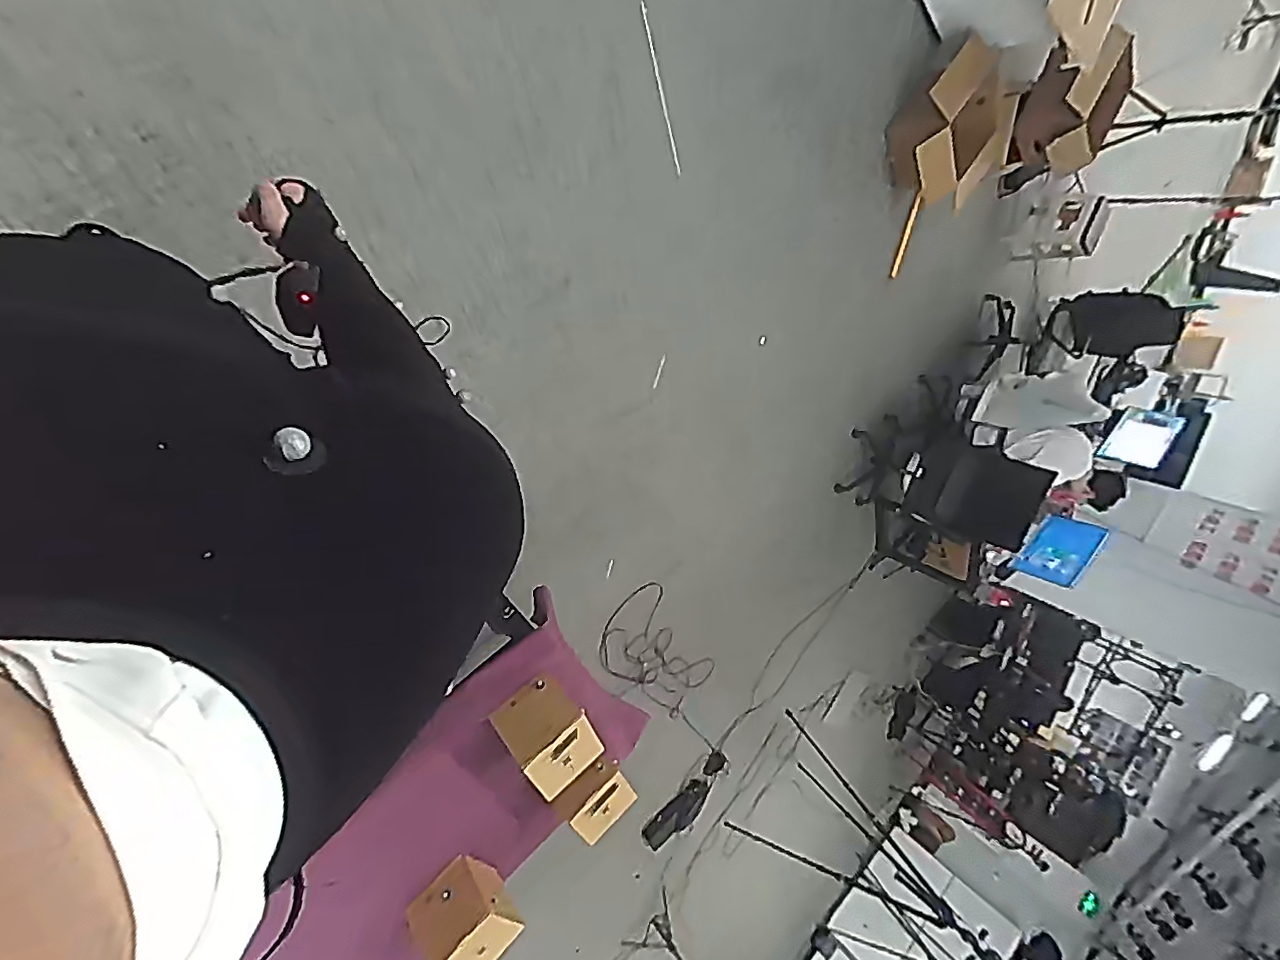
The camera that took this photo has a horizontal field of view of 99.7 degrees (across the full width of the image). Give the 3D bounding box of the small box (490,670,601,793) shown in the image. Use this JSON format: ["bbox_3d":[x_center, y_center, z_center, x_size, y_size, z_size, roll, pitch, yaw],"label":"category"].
[{"bbox_3d":[-0.223,0.579,1.269,0.168,0.176,0.179,-36,133,-23],"label":"small box"}]

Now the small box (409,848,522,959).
[{"bbox_3d":[-0.428,1.051,1.327,0.168,0.176,0.179,-42,132,-18],"label":"small box"}]
